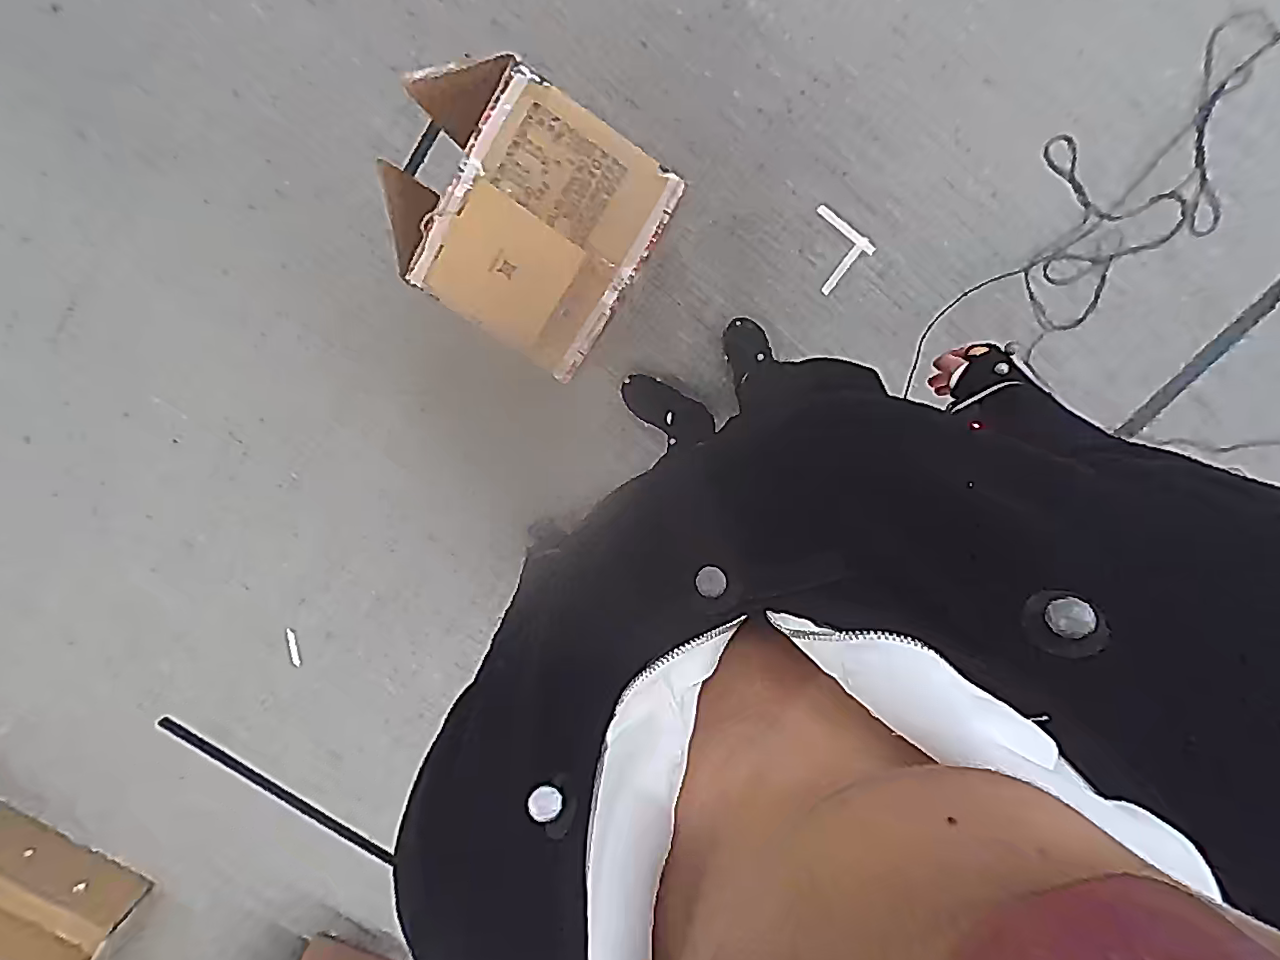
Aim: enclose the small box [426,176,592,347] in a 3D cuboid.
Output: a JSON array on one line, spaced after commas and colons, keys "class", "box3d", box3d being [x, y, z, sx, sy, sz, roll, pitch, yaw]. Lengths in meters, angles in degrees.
[{"class": "small box", "box3d": [-0.191, -0.326, 0.838, 0.179, 0.176, 0.168, 32, 105, -11]}]
